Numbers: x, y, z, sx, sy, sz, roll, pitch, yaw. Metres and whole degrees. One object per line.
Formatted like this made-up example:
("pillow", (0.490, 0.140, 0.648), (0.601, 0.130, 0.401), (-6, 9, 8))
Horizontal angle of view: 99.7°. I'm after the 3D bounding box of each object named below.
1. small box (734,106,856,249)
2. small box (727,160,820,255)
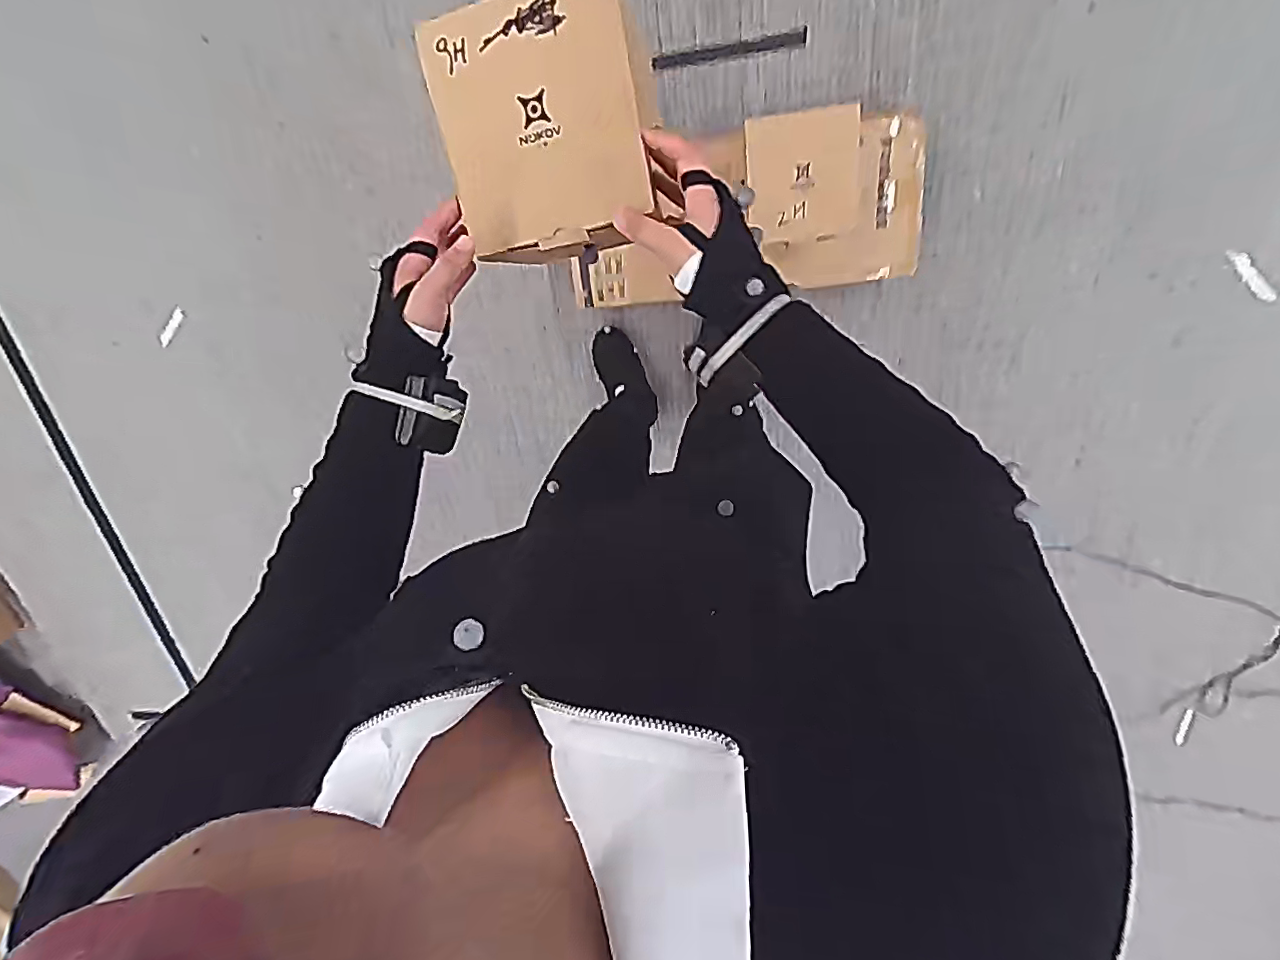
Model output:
("small box", (0.247, -0.486, 0.894), (0.168, 0.176, 0.179), (-4, 112, 7))
("small box", (0.257, -0.535, 1.052), (0.168, 0.176, 0.179), (0, 113, 6))
